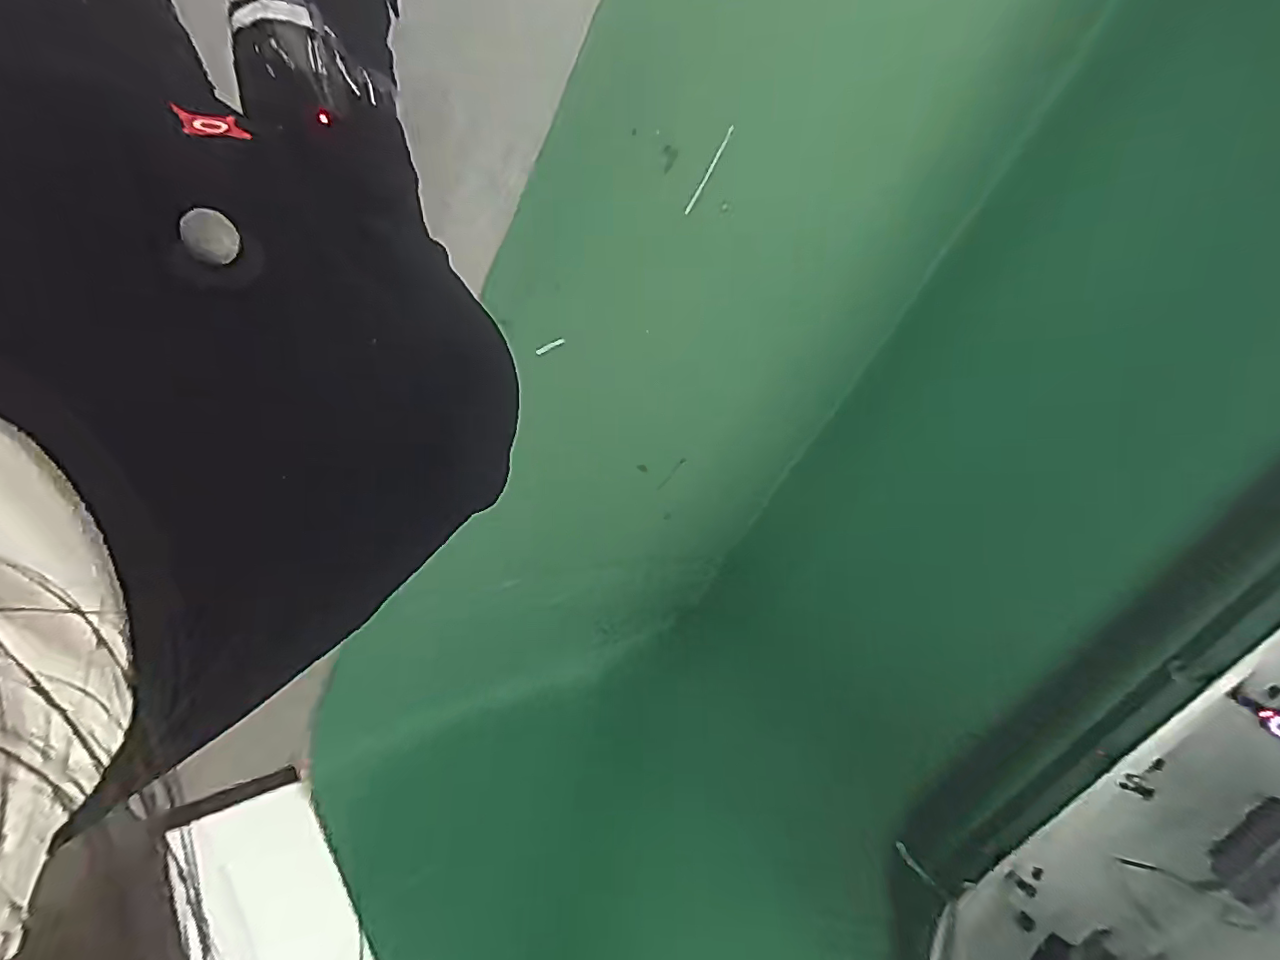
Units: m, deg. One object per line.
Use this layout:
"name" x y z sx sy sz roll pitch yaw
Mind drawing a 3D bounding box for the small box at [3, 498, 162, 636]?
"small box" -0.981 0.142 0.949 0.179 0.176 0.168 1 119 -52
